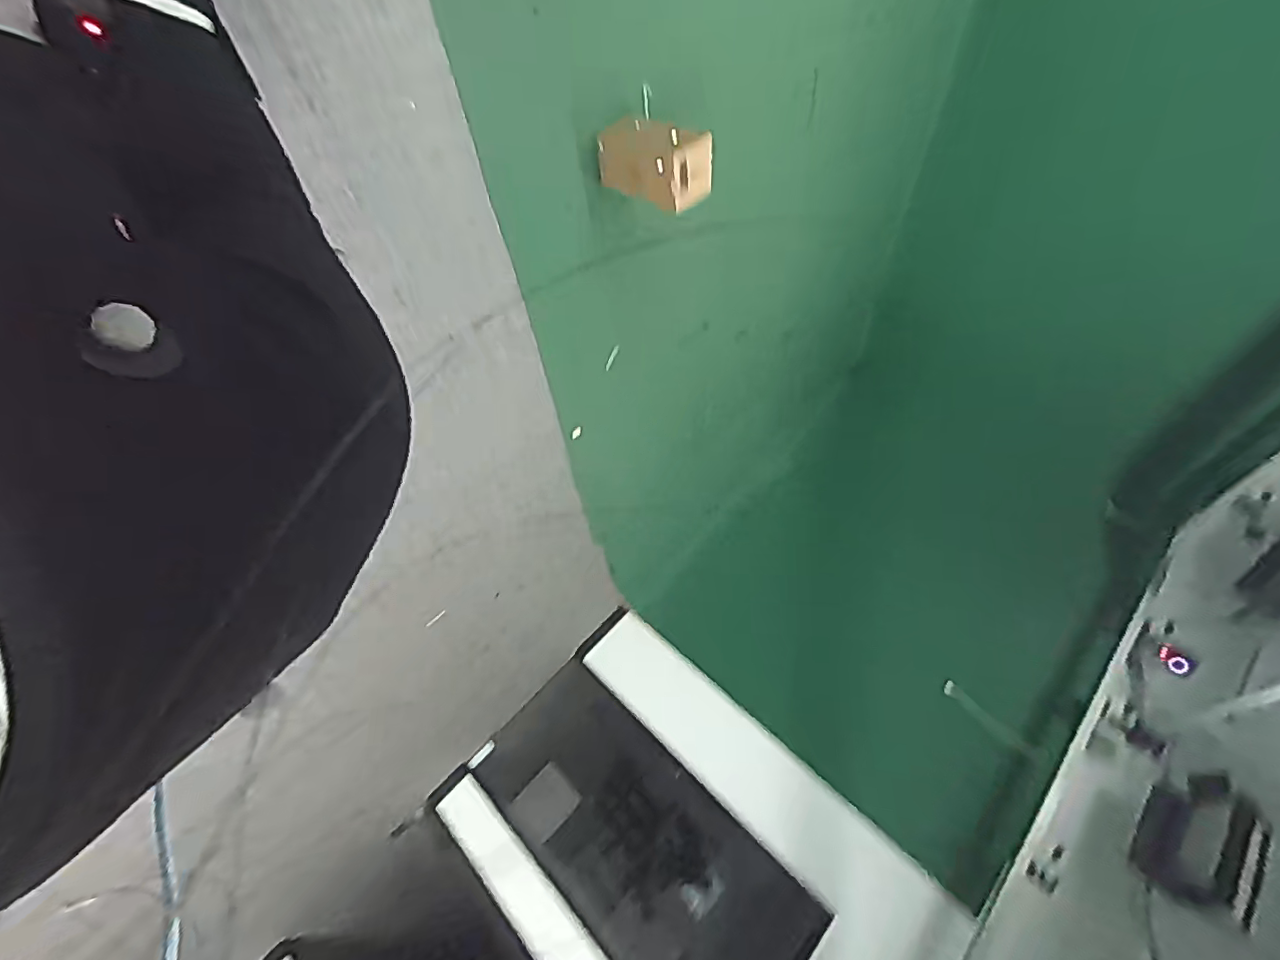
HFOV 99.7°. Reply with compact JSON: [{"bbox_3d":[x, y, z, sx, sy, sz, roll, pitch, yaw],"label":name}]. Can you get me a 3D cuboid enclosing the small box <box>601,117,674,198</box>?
[{"bbox_3d":[-0.011,-1.049,1.756,0.179,0.176,0.168,-41,149,-23],"label":"small box"}]
